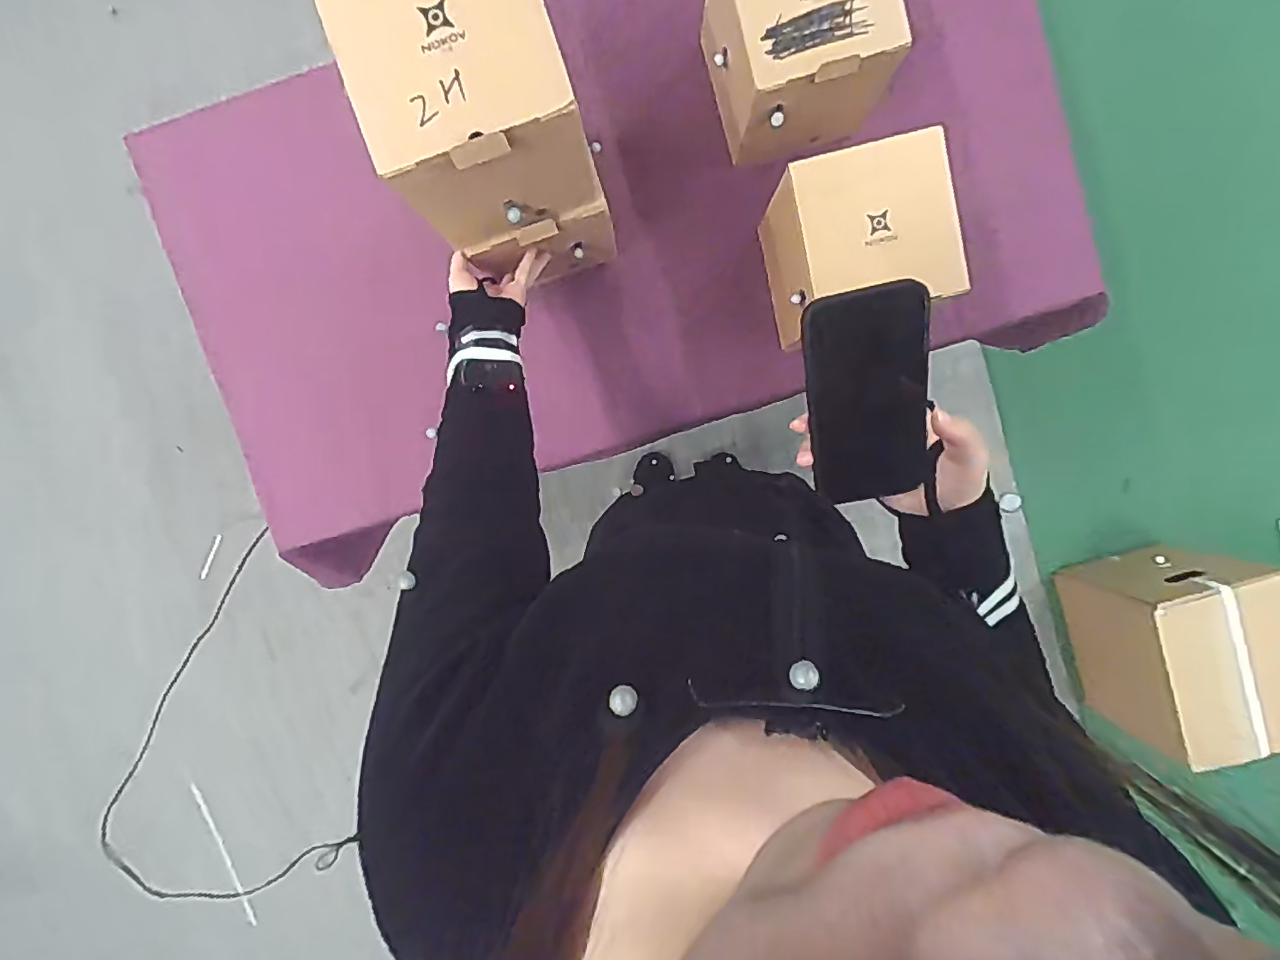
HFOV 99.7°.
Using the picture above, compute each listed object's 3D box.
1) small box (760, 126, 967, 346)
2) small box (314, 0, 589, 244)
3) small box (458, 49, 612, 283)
[{"bbox_3d":[0.252,-0.276,0.651,0.168,0.176,0.179,-13,95,3],"label":"small box"},{"bbox_3d":[-0.155,-0.349,0.491,0.168,0.176,0.179,-18,94,3],"label":"small box"},{"bbox_3d":[-0.139,-0.357,0.655,0.168,0.176,0.179,-18,94,2],"label":"small box"}]
